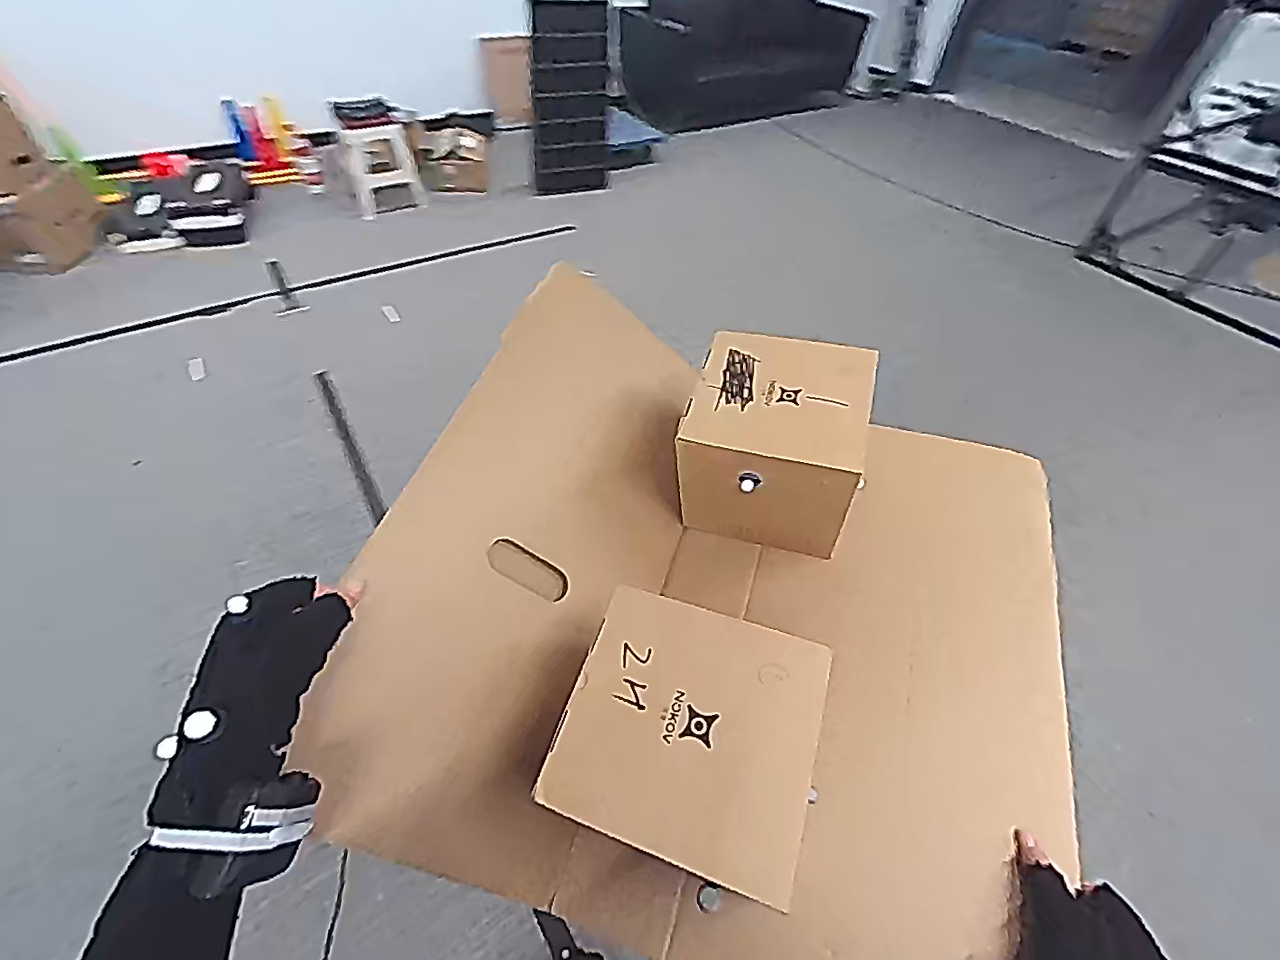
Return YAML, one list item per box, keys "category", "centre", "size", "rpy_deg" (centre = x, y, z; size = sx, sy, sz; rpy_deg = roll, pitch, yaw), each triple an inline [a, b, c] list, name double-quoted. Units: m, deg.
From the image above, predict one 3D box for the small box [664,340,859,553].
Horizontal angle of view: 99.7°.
- category: "small box"
  centre: [0.137, -0.035, 0.623]
  size: [0.179, 0.176, 0.168]
  rpy_deg: [11, 57, 15]
